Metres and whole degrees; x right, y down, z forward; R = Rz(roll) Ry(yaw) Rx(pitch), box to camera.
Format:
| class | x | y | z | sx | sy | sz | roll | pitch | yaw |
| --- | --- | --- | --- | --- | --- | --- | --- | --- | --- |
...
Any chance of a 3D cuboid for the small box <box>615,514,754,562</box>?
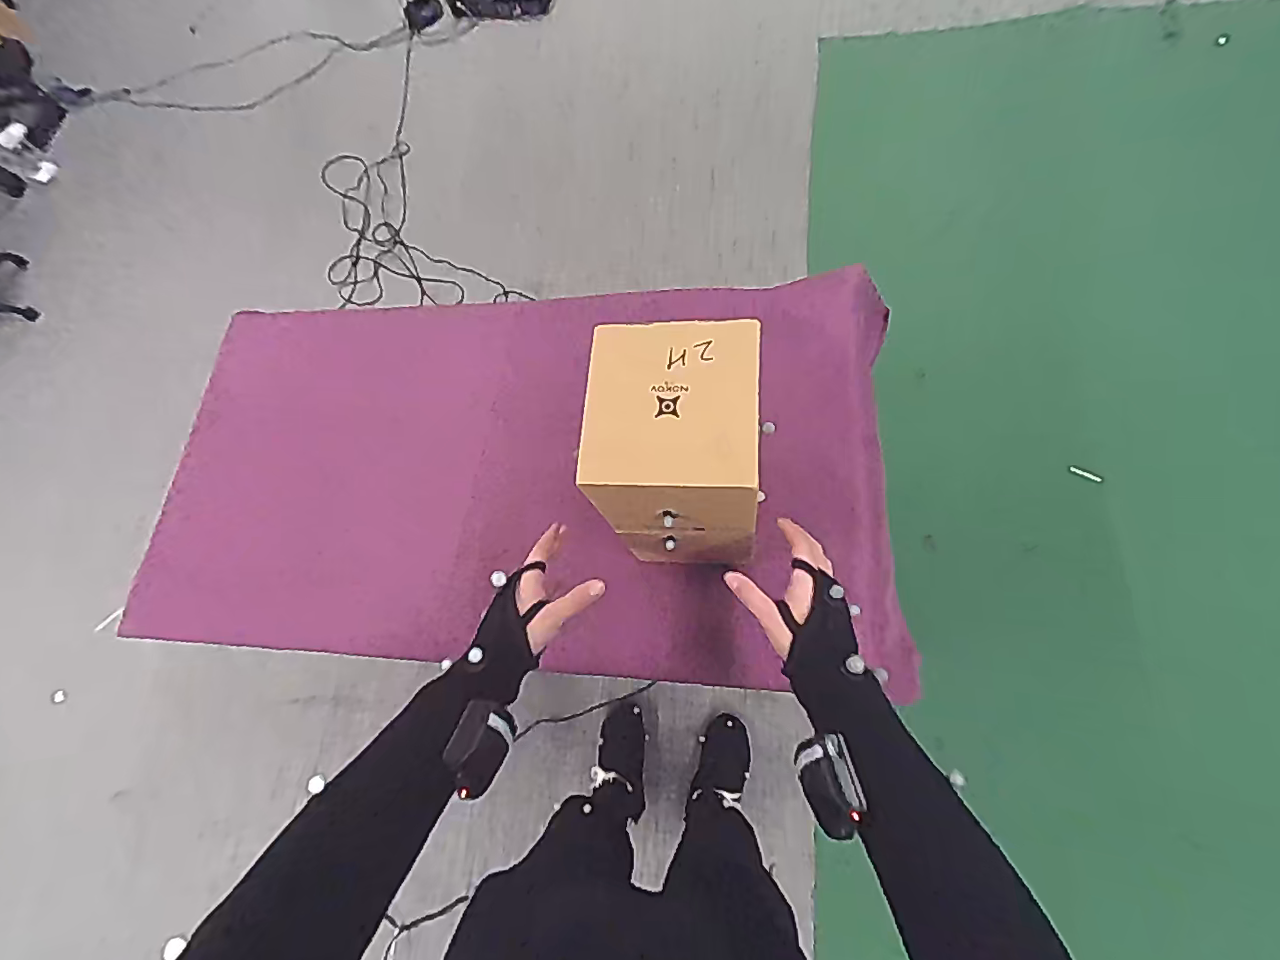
| class | x | y | z | sx | sy | sz | roll | pitch | yaw |
| --- | --- | --- | --- | --- | --- | --- | --- | --- | --- |
| small box | 0.070 | 0.006 | 0.732 | 0.168 | 0.176 | 0.179 | 0 | 71 | 12 |

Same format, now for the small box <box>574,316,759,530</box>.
| class | x | y | z | sx | sy | sz | roll | pitch | yaw |
| --- | --- | --- | --- | --- | --- | --- | --- | --- | --- |
| small box | 0.040 | -0.051 | 0.577 | 0.168 | 0.176 | 0.179 | 1 | 70 | 11 |
